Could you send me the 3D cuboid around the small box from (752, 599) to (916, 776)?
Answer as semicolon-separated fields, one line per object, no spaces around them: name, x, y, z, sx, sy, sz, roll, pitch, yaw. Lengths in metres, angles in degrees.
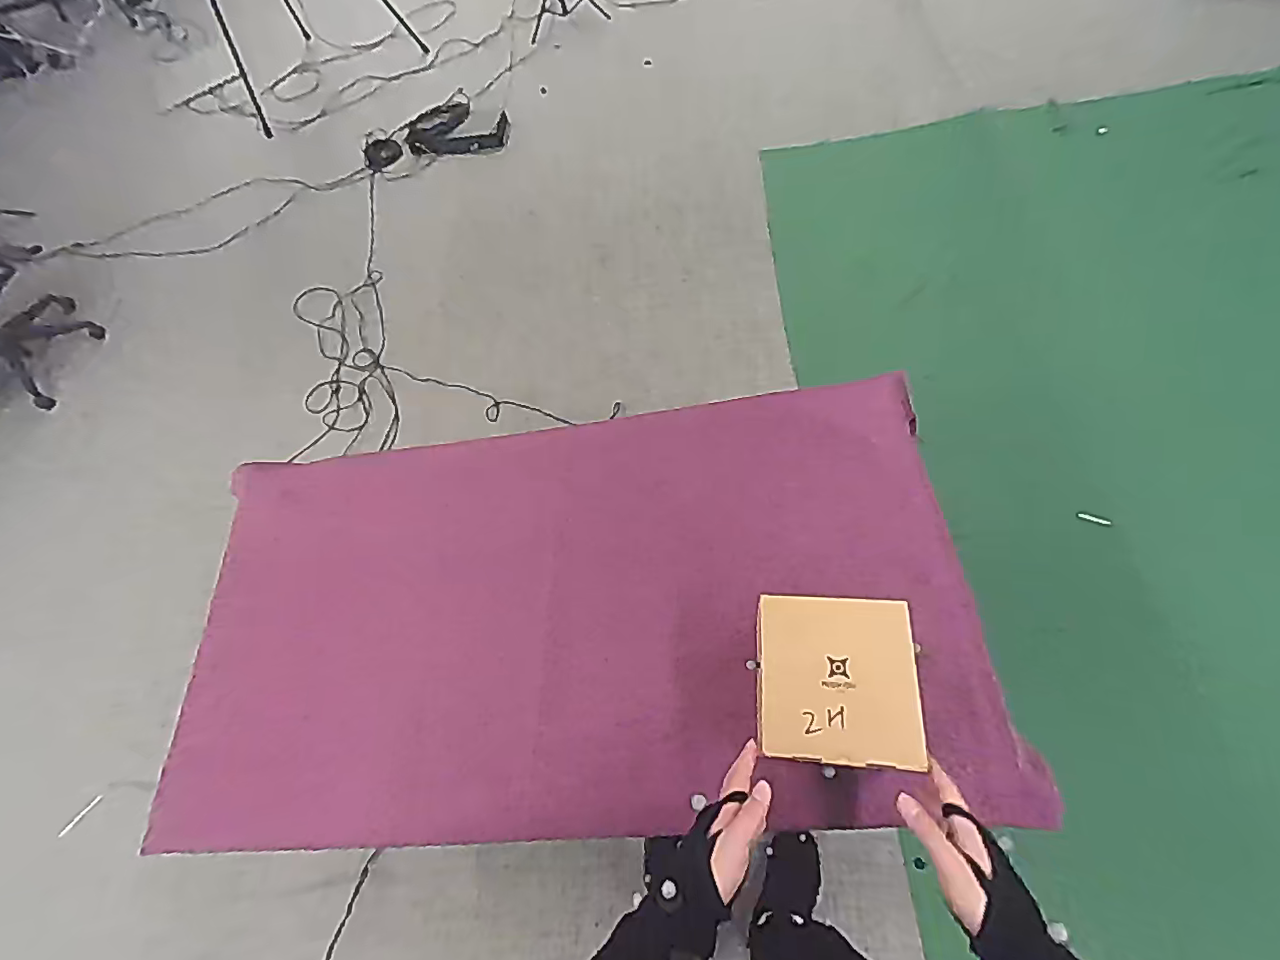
small box;0.225;0.257;0.672;0.168;0.176;0.179;0;65;13
